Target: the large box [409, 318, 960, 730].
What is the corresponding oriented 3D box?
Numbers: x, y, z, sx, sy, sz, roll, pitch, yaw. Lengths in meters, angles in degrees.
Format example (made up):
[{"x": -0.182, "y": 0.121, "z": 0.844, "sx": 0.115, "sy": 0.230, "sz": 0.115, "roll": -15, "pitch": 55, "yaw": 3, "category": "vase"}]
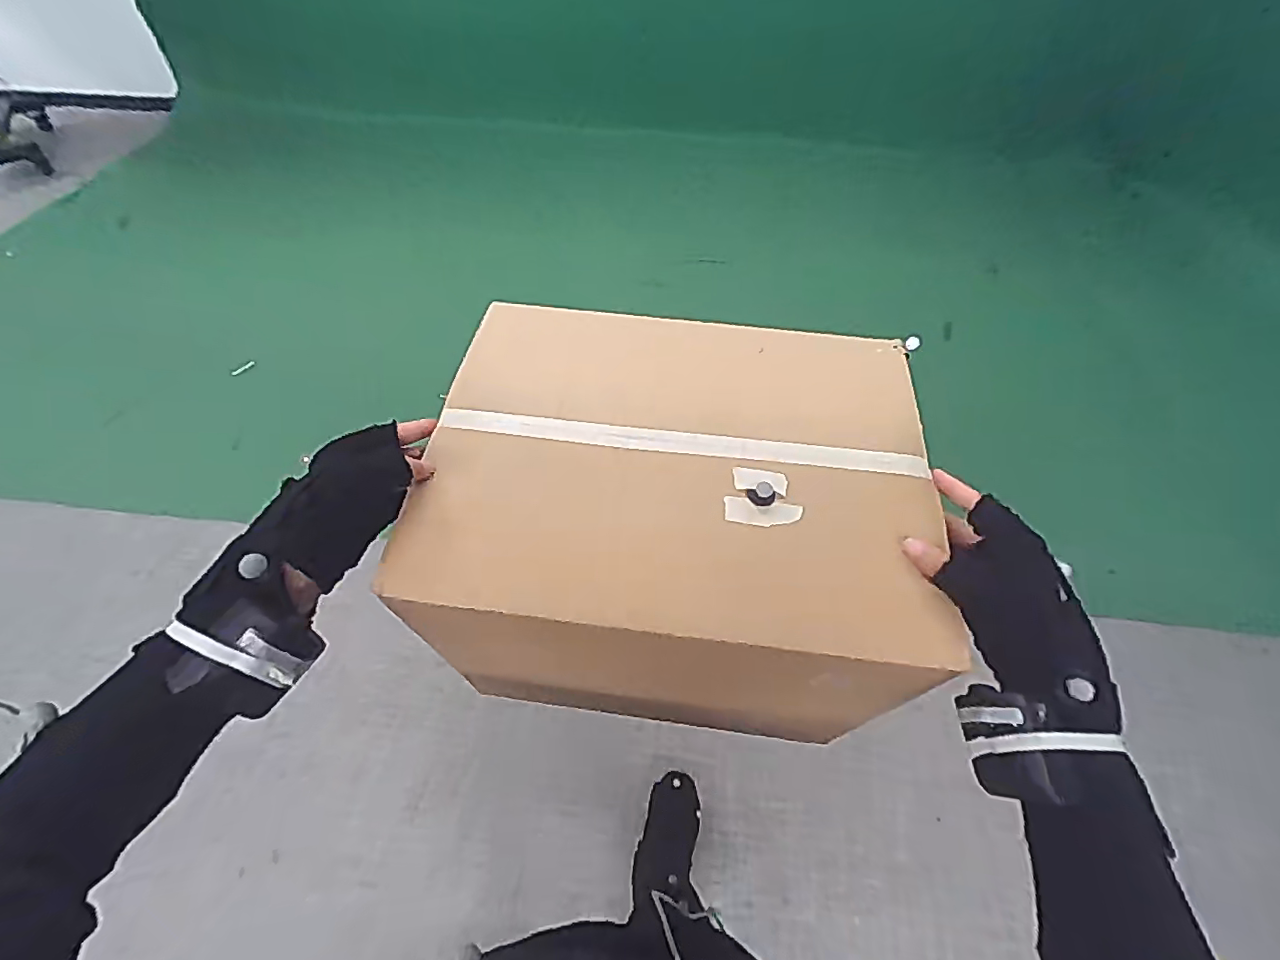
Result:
[{"x": 0.038, "y": 0.060, "z": 0.588, "sx": 0.408, "sy": 0.320, "sz": 0.320, "roll": 7, "pitch": 57, "yaw": 2, "category": "large box"}]
